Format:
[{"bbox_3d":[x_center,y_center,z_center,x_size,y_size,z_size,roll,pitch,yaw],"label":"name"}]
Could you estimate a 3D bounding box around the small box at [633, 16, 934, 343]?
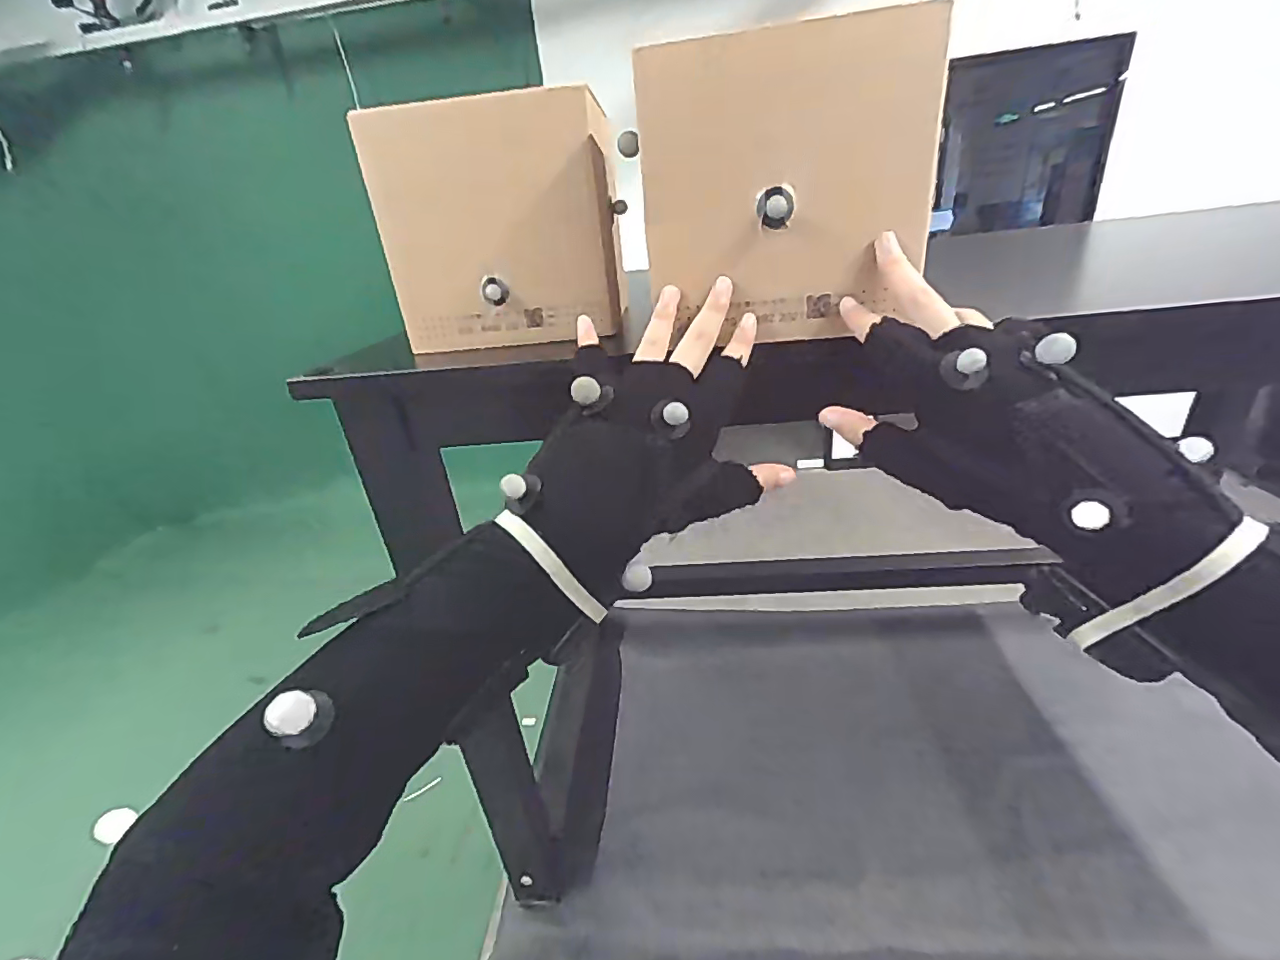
[{"bbox_3d":[0.094,-0.200,0.402,0.168,0.176,0.179,-2,25,8],"label":"small box"}]
